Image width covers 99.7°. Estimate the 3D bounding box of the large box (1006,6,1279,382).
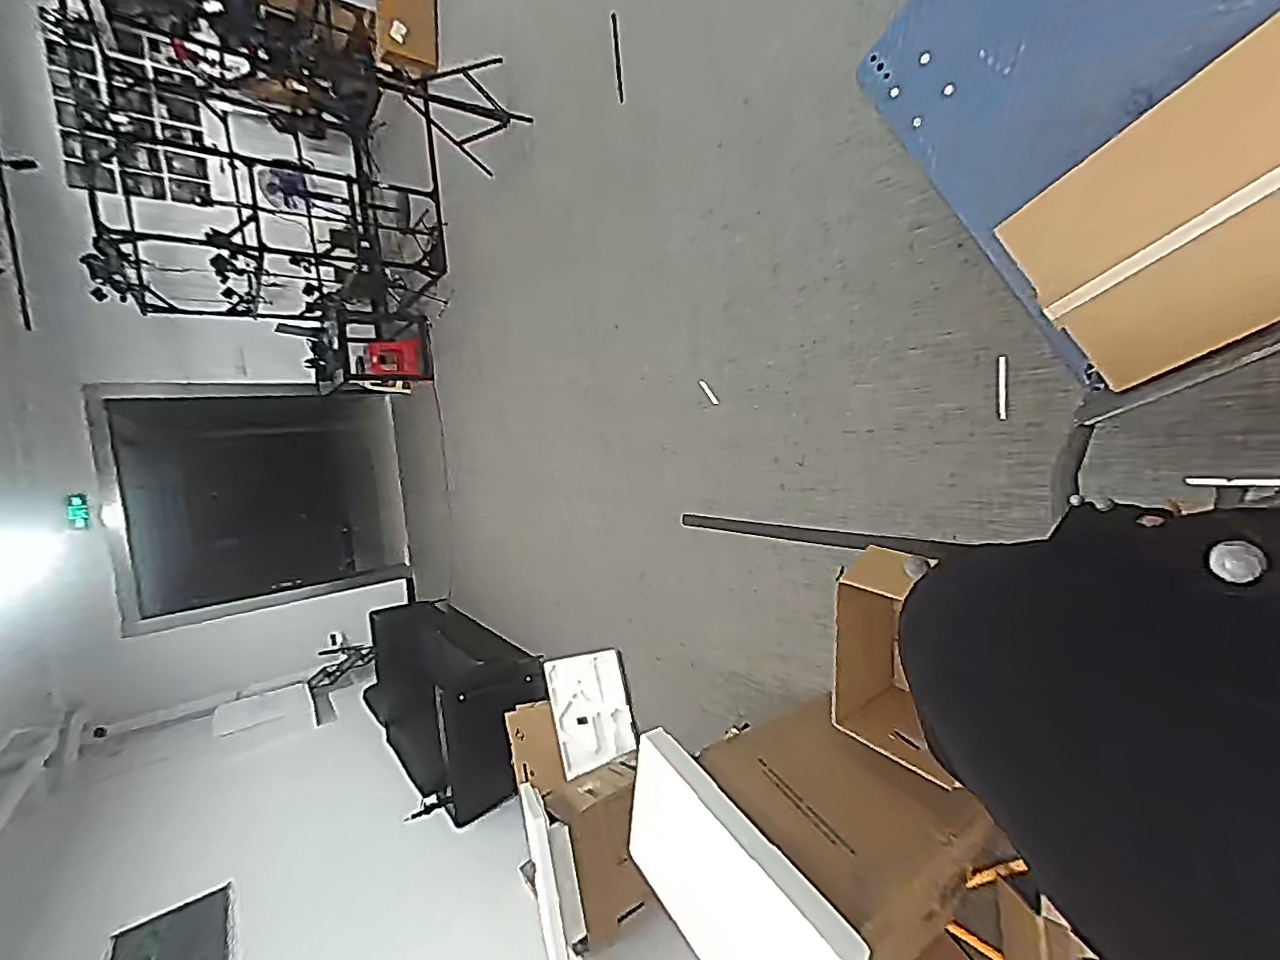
[{"bbox_3d":[0.843,-0.404,0.766,0.320,0.320,0.408,57,140,6],"label":"large box"}]
